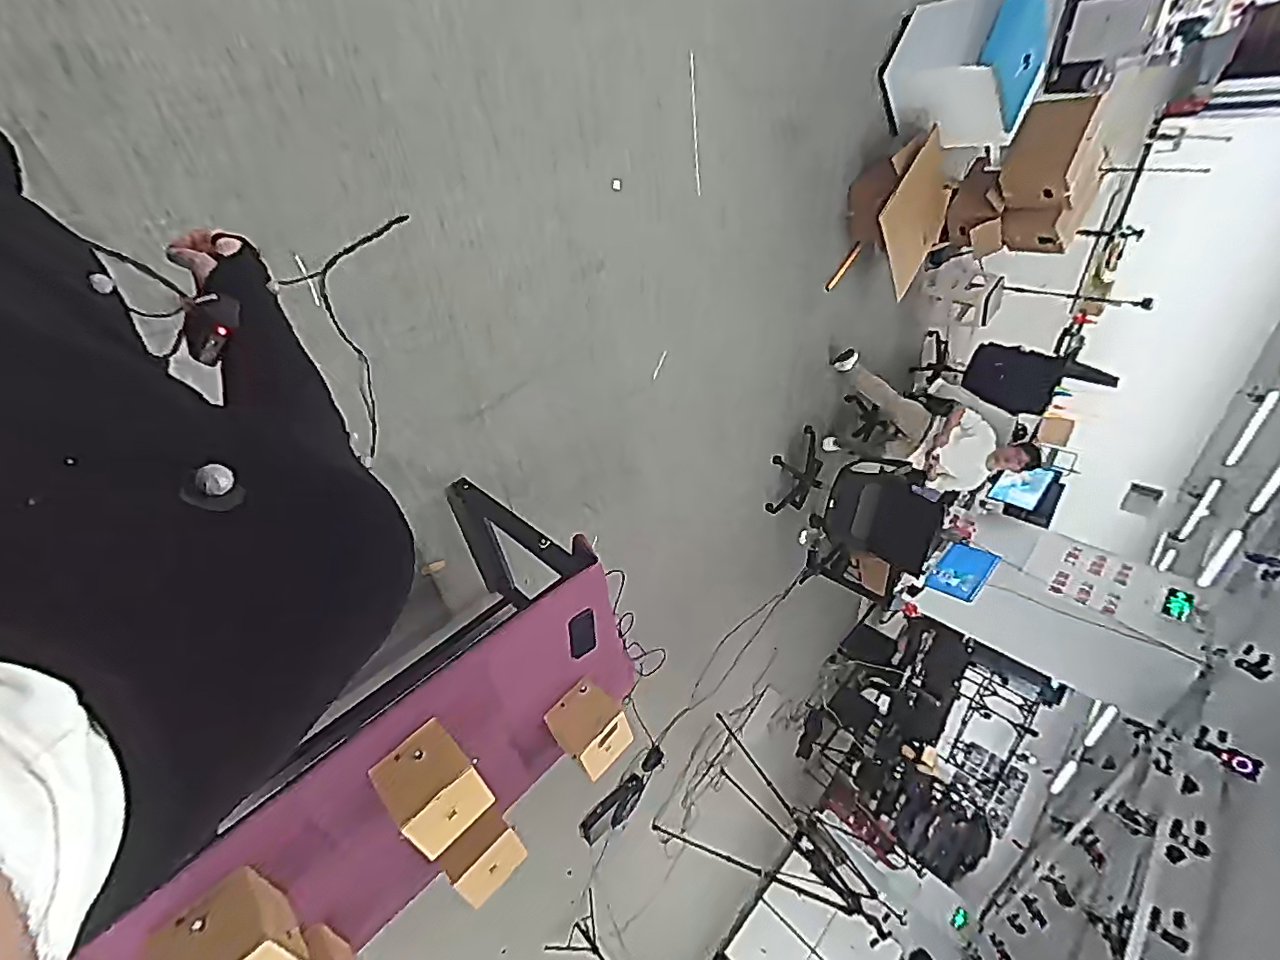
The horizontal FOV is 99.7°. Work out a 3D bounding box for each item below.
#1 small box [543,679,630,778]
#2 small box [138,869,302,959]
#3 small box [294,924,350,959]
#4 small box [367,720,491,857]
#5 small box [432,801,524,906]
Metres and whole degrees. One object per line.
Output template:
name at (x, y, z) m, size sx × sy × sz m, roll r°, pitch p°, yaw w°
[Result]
small box at (-0.157, 0.707, 1.559) m, size 0.168 × 0.176 × 0.179 m, roll -38°, pitch 136°, yaw -28°
small box at (-0.742, 0.851, 0.966) m, size 0.168 × 0.176 × 0.179 m, roll -34°, pitch 134°, yaw -34°
small box at (-0.715, 1.107, 1.152) m, size 0.168 × 0.176 × 0.179 m, roll -34°, pitch 134°, yaw -34°
small box at (-0.462, 0.669, 1.188) m, size 0.168 × 0.176 × 0.179 m, roll -36°, pitch 135°, yaw -30°
small box at (-0.426, 0.921, 1.378) m, size 0.168 × 0.176 × 0.179 m, roll -36°, pitch 134°, yaw -31°
